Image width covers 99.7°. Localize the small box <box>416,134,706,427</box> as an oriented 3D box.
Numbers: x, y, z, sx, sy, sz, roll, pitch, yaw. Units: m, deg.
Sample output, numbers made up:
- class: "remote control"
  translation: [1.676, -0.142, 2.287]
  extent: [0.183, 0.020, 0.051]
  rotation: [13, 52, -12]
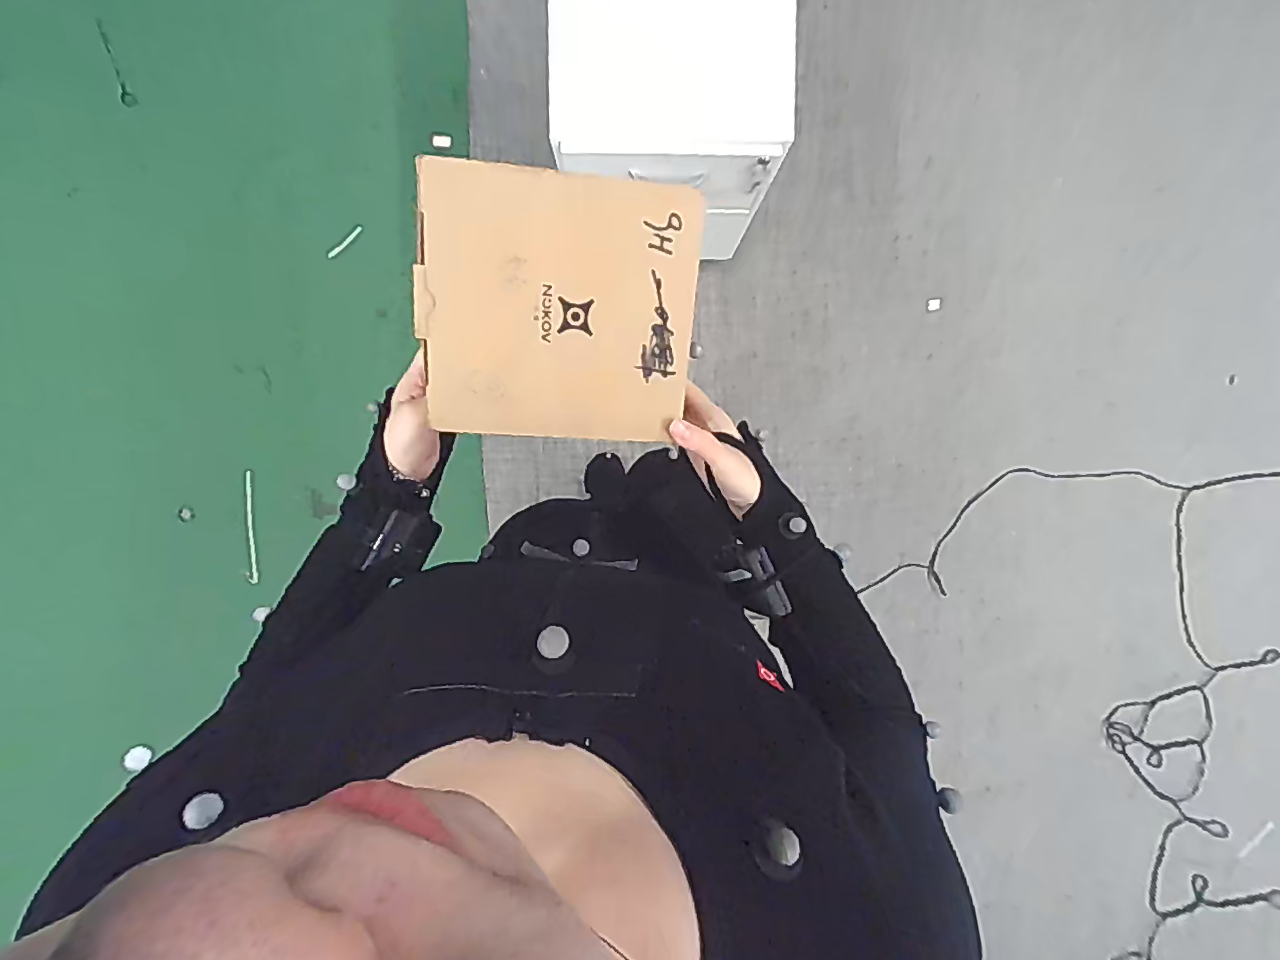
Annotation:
- class: "small box"
  translation: [-0.060, -0.145, 0.424]
  extent: [0.179, 0.176, 0.168]
  rotation: [3, 109, -8]
